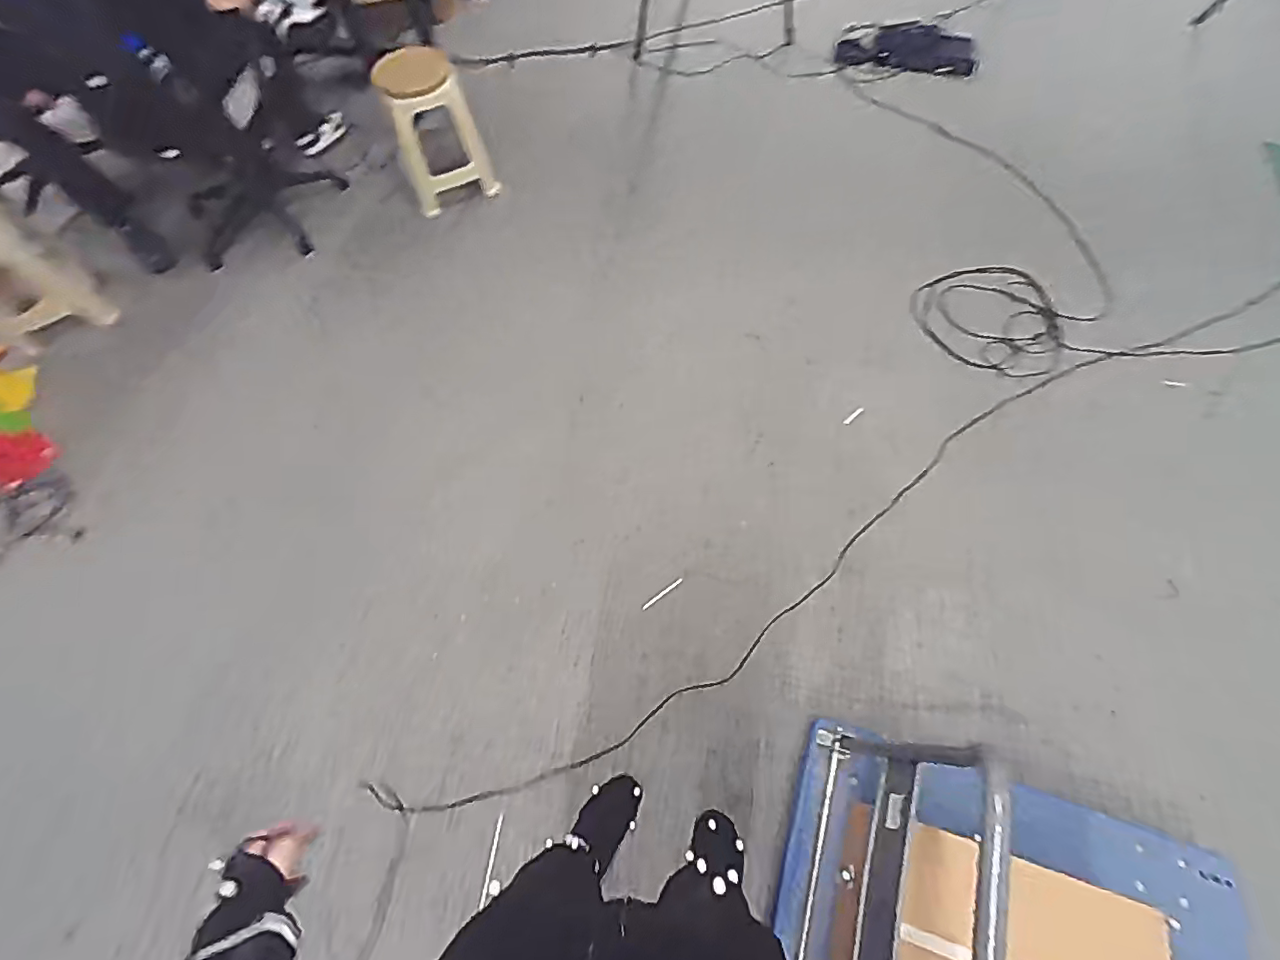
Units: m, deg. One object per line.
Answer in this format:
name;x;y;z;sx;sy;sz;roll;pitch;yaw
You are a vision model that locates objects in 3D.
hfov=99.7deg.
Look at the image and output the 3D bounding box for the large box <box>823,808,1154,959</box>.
large box;0.584;0.831;0.968;0.408;0.320;0.320;16;66;9
